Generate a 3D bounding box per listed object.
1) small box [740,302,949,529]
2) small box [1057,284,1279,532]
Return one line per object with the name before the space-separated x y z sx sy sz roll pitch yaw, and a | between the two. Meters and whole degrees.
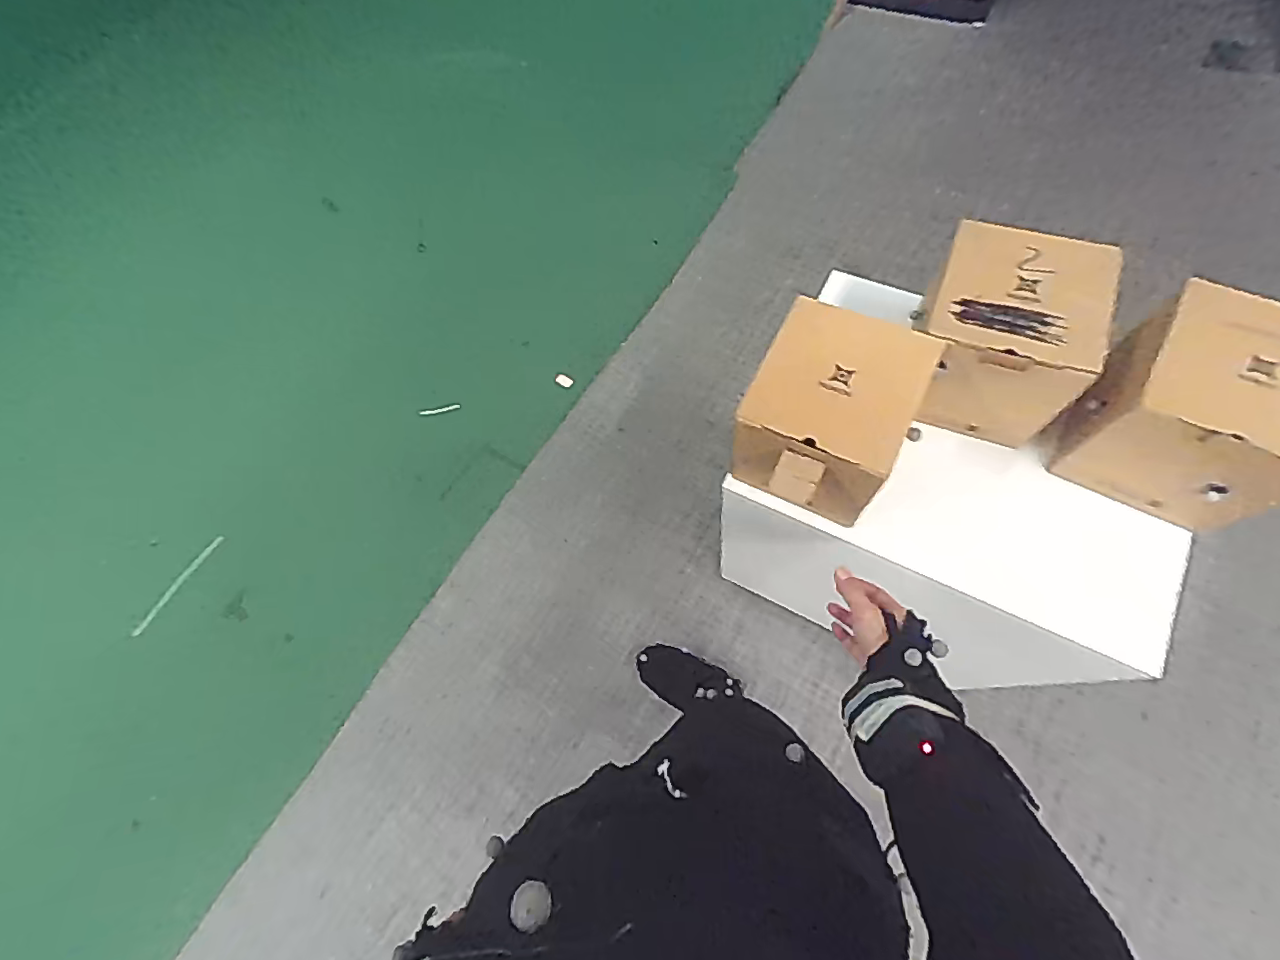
small box | 0.226 -0.070 0.644 0.168 0.176 0.179 25 73 17
small box | 0.604 -0.068 0.589 0.168 0.176 0.179 29 74 18
